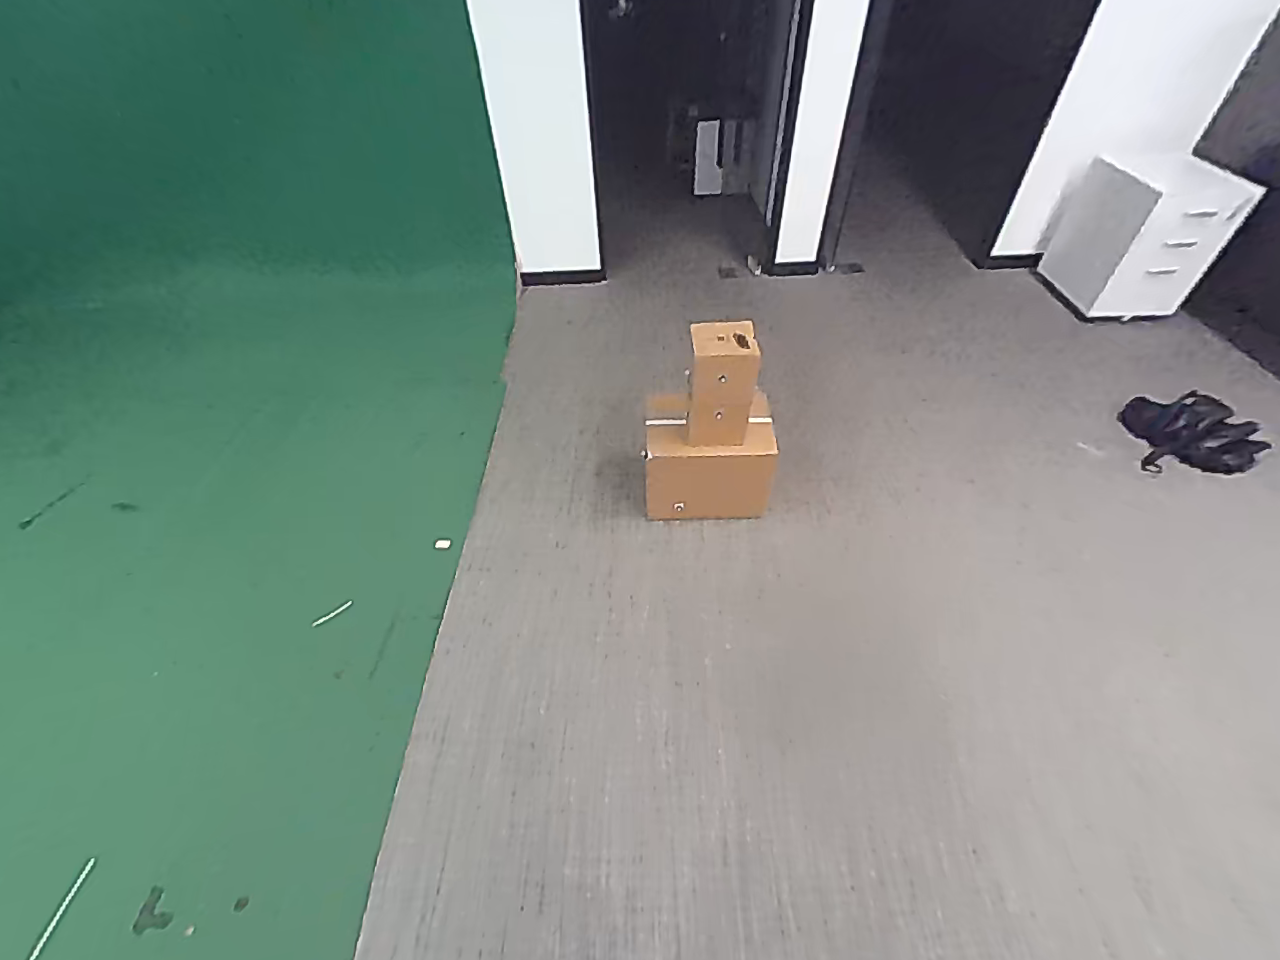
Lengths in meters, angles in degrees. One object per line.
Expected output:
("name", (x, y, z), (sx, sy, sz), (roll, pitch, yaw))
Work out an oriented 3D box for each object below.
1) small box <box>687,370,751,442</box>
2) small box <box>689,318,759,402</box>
("small box", (0.236, -0.229, 1.658), (0.179, 0.176, 0.168), (-2, 48, 0))
("small box", (0.231, -0.337, 1.535), (0.179, 0.176, 0.168), (-4, 47, 3))
